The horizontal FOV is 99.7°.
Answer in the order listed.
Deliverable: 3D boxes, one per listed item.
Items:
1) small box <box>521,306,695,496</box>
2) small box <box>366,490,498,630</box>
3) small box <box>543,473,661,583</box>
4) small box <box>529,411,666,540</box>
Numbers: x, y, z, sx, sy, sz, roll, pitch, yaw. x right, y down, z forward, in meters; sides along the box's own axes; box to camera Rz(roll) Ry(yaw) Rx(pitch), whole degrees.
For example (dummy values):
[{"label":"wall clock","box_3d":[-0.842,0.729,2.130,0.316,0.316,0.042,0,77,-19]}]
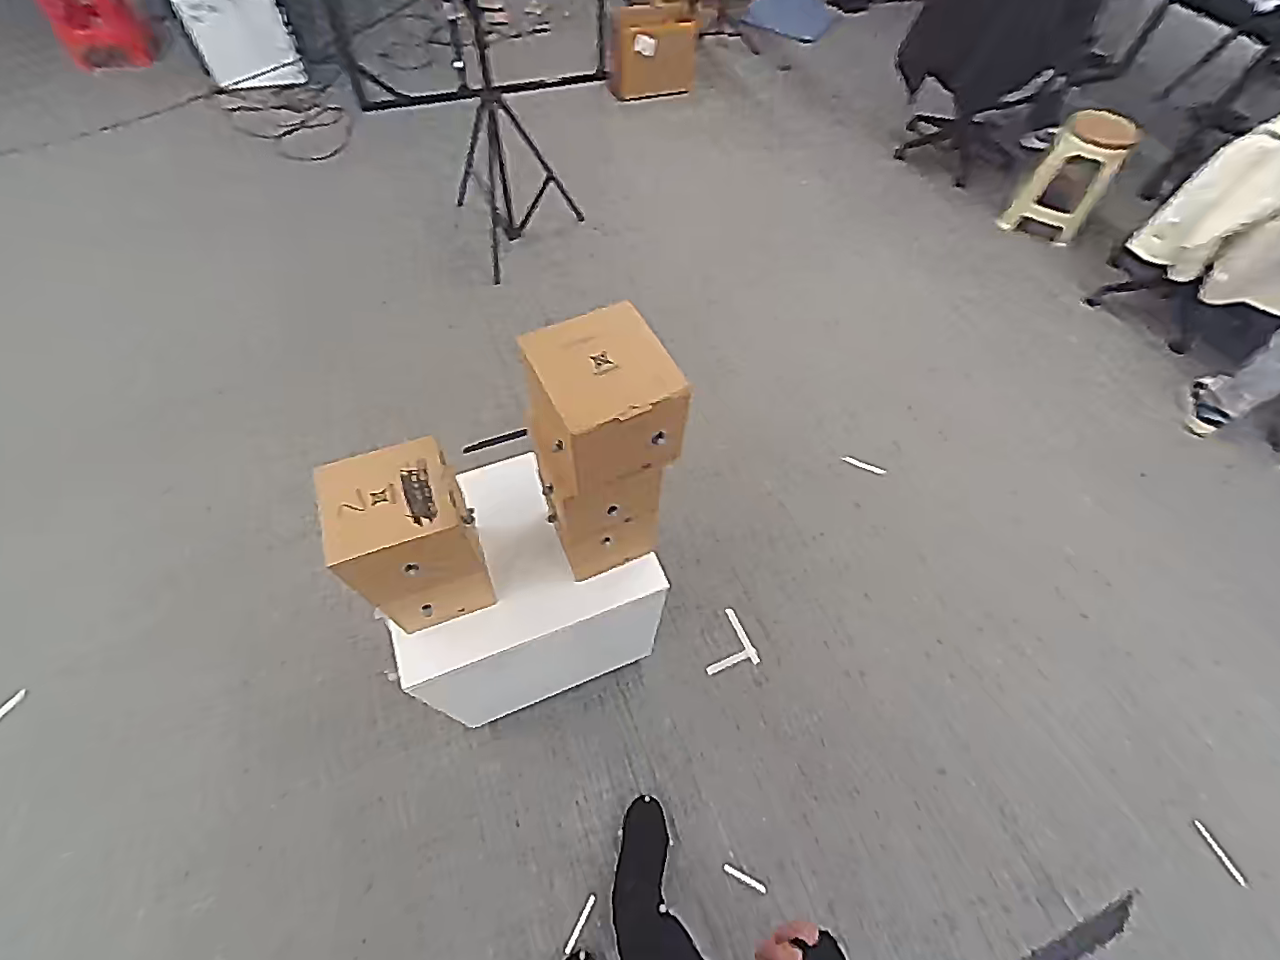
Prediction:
[{"label":"small box","box_3d":[-0.044,-0.098,0.742,0.168,0.176,0.179,-24,63,-16]},{"label":"small box","box_3d":[-0.363,0.151,0.963,0.168,0.176,0.179,-17,61,-13]},{"label":"small box","box_3d":[-0.073,0.066,1.025,0.168,0.176,0.179,-21,62,-13]},{"label":"small box","box_3d":[-0.067,-0.019,0.884,0.168,0.176,0.179,-20,62,-13]}]
